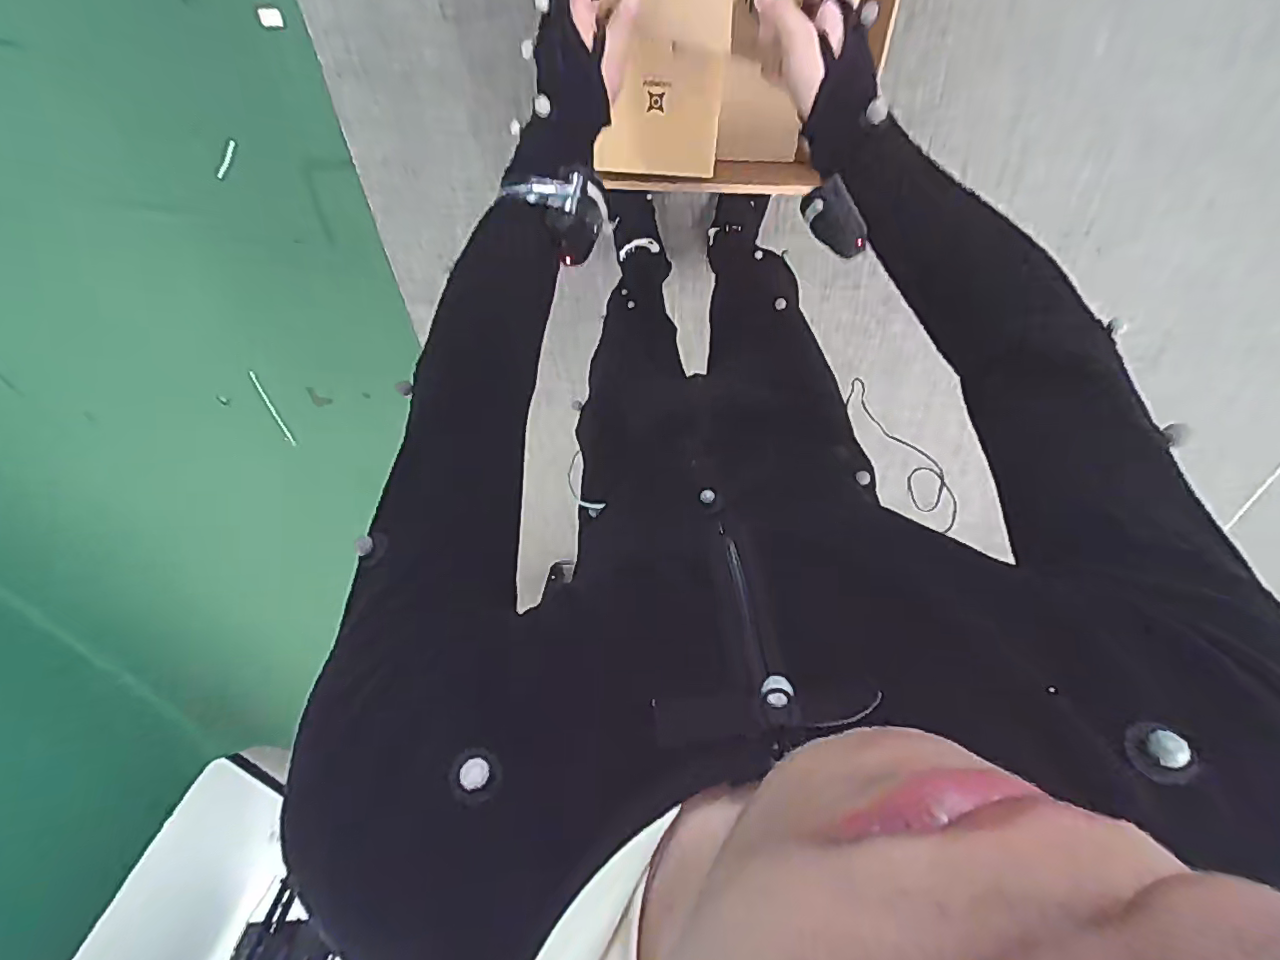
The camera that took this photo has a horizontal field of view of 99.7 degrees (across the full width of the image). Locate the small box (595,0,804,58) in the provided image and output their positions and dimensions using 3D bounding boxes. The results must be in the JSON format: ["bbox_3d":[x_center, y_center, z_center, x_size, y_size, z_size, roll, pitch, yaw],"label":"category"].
[{"bbox_3d":[0.063,-0.503,0.472,0.179,0.176,0.168,9,134,-8],"label":"small box"}]
